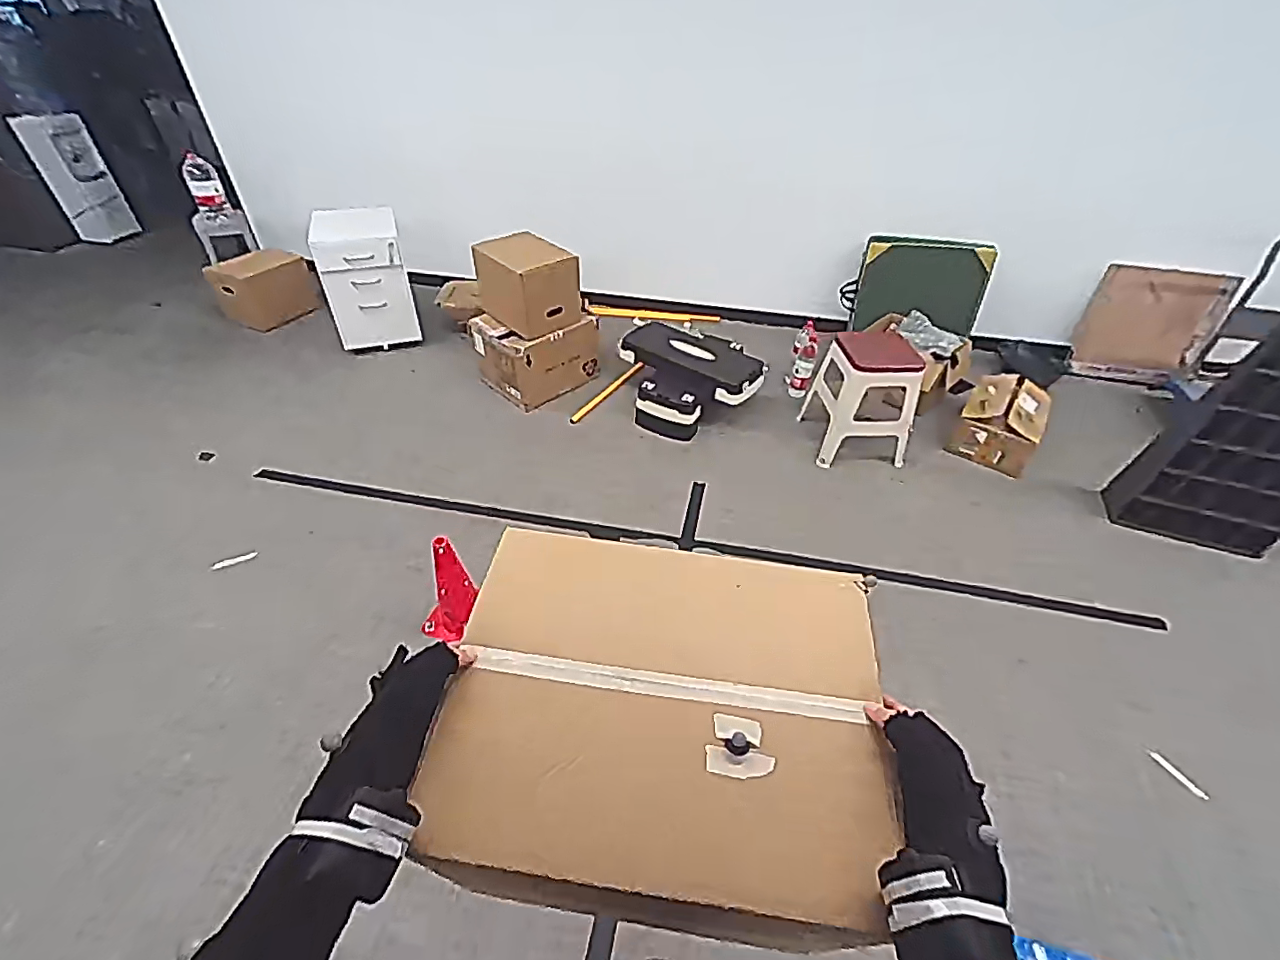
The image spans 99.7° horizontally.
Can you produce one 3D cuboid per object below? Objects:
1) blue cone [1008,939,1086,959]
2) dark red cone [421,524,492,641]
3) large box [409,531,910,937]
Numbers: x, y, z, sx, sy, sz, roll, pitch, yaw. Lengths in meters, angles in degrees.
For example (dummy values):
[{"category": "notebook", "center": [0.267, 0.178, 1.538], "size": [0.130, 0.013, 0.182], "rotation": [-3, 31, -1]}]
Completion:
[{"category": "blue cone", "center": [0.861, 0.939, 0.976], "size": [0.192, 0.380, 0.193], "rotation": [13, 43, 9]}, {"category": "dark red cone", "center": [-0.546, 0.279, 1.589], "size": [0.201, 0.394, 0.202], "rotation": [14, 43, 11]}, {"category": "large box", "center": [0.019, 0.293, 0.627], "size": [0.408, 0.320, 0.320], "rotation": [8, 48, 3]}]
